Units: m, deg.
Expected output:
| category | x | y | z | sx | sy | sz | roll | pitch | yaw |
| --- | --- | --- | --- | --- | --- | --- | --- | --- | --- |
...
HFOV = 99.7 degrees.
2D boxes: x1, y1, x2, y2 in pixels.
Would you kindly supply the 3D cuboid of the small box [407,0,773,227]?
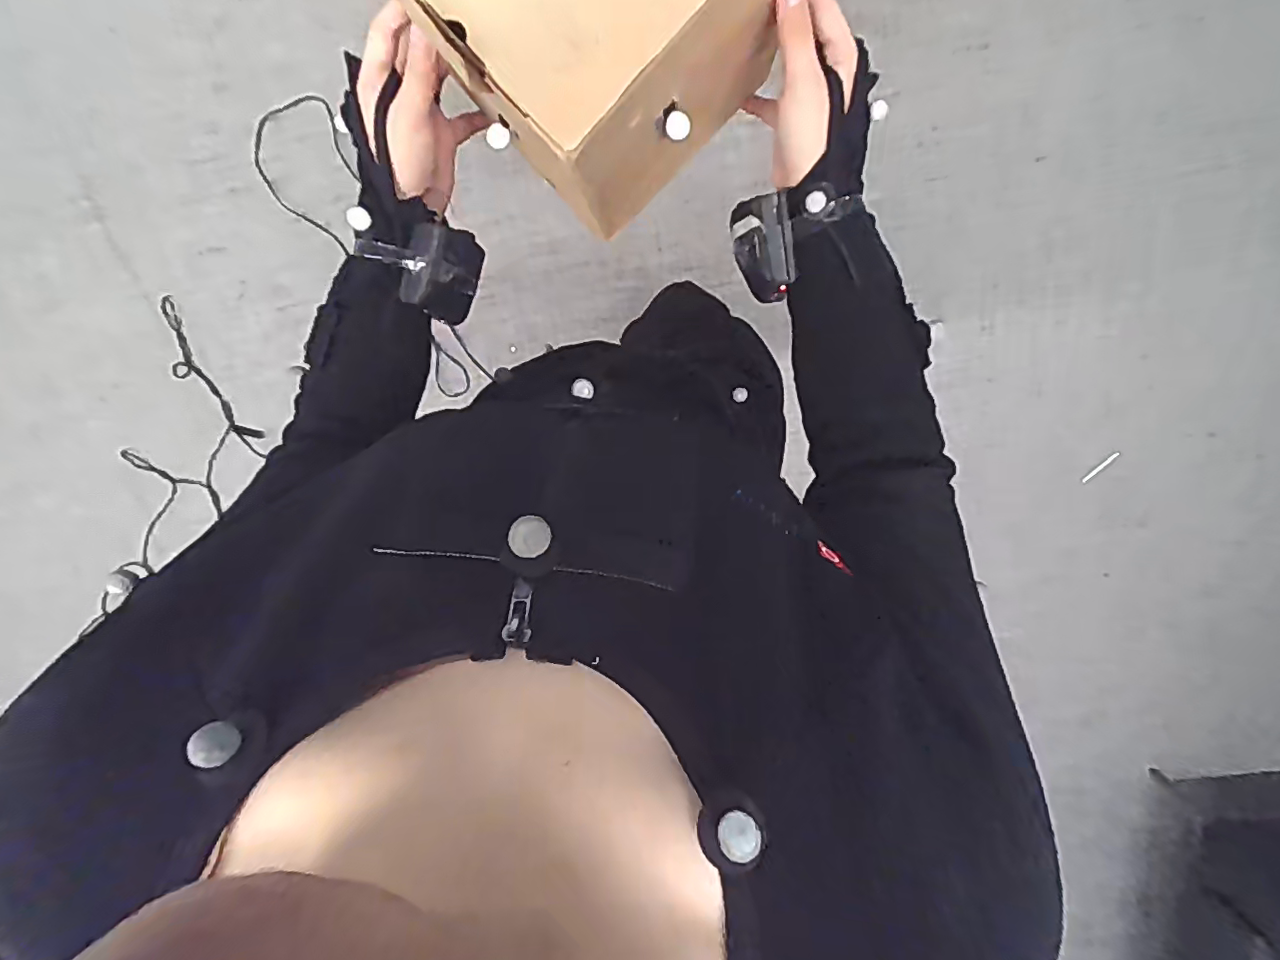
| category | x | y | z | sx | sy | sz | roll | pitch | yaw |
| --- | --- | --- | --- | --- | --- | --- | --- | --- | --- |
| small box | -0.025 | -0.299 | 0.344 | 0.179 | 0.176 | 0.168 | -44 | 94 | 10 |
